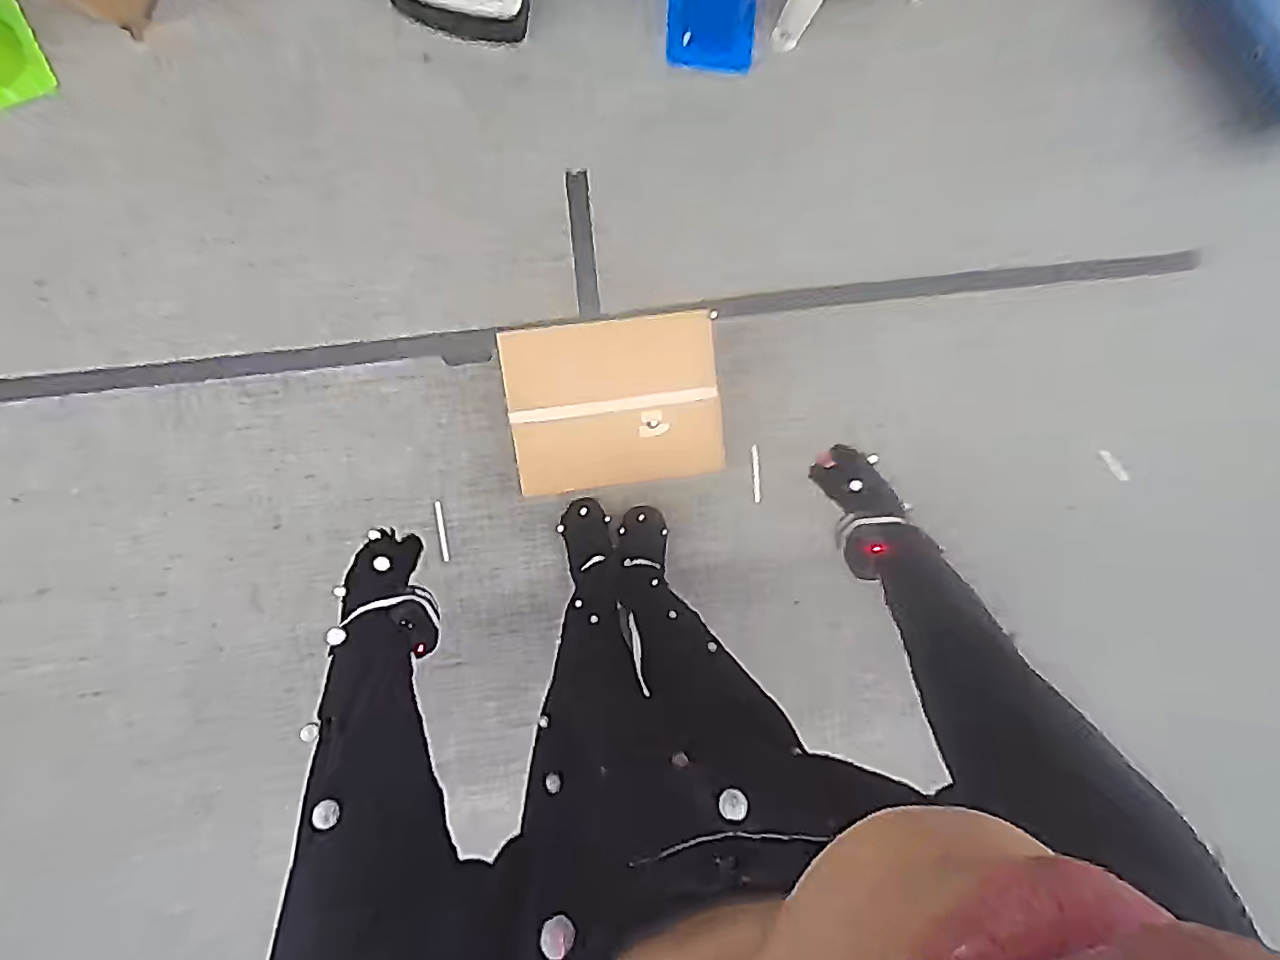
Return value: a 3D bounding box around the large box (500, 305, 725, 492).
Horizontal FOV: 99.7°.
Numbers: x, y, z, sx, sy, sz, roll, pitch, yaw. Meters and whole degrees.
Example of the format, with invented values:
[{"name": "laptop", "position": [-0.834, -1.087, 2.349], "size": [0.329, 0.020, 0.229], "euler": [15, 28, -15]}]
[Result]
[{"name": "large box", "position": [-0.064, -0.178, 1.184], "size": [0.408, 0.320, 0.320], "euler": [-8, 101, -6]}]
